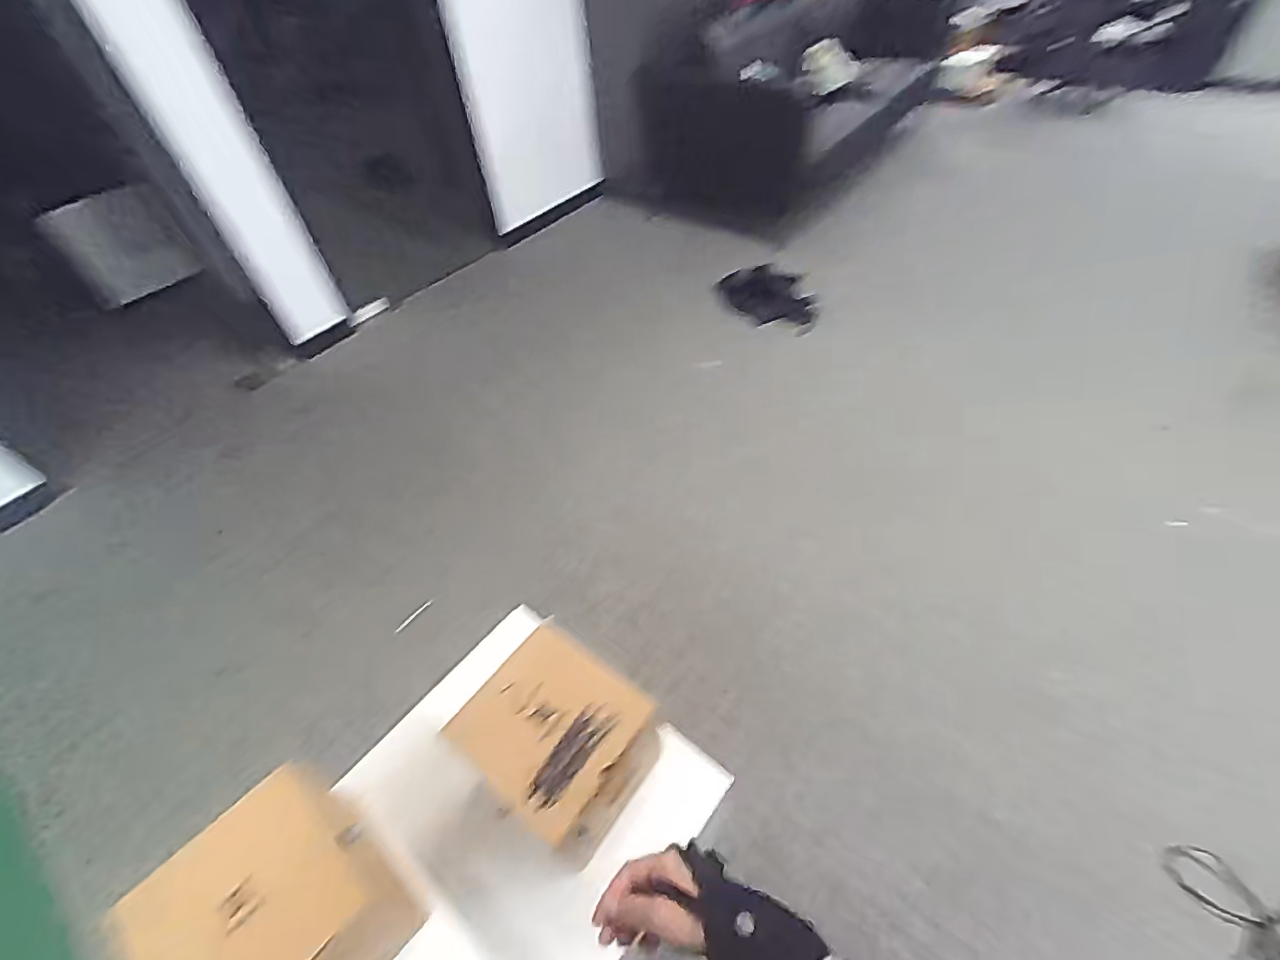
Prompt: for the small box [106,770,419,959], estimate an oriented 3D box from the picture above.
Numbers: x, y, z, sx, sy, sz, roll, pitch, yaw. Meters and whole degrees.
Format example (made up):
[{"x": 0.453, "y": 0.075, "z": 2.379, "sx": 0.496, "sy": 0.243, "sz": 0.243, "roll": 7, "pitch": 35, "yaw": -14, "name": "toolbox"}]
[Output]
[{"x": -0.358, "y": 0.439, "z": 0.540, "sx": 0.179, "sy": 0.176, "sz": 0.168, "roll": 33, "pitch": 57, "yaw": 28, "name": "small box"}]
